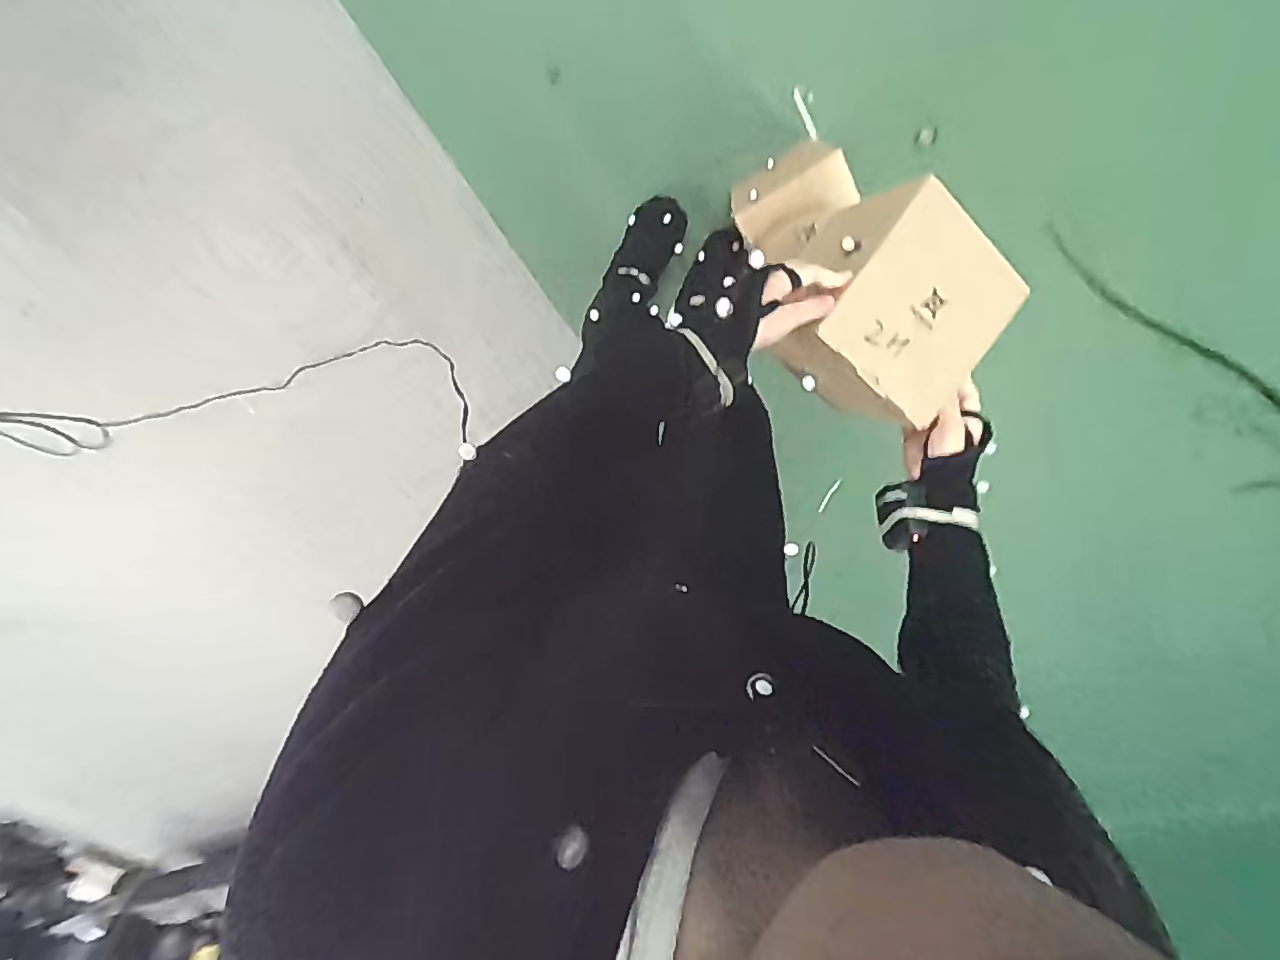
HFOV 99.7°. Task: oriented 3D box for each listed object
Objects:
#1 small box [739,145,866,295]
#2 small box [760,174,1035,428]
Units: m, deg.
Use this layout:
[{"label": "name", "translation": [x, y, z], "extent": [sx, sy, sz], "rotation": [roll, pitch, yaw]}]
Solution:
[{"label": "small box", "translation": [0.282, -0.441, 0.926], "extent": [0.179, 0.176, 0.168], "rotation": [-25, 118, 25]}, {"label": "small box", "translation": [0.262, -0.185, 0.592], "extent": [0.168, 0.176, 0.179], "rotation": [34, 97, -17]}]
